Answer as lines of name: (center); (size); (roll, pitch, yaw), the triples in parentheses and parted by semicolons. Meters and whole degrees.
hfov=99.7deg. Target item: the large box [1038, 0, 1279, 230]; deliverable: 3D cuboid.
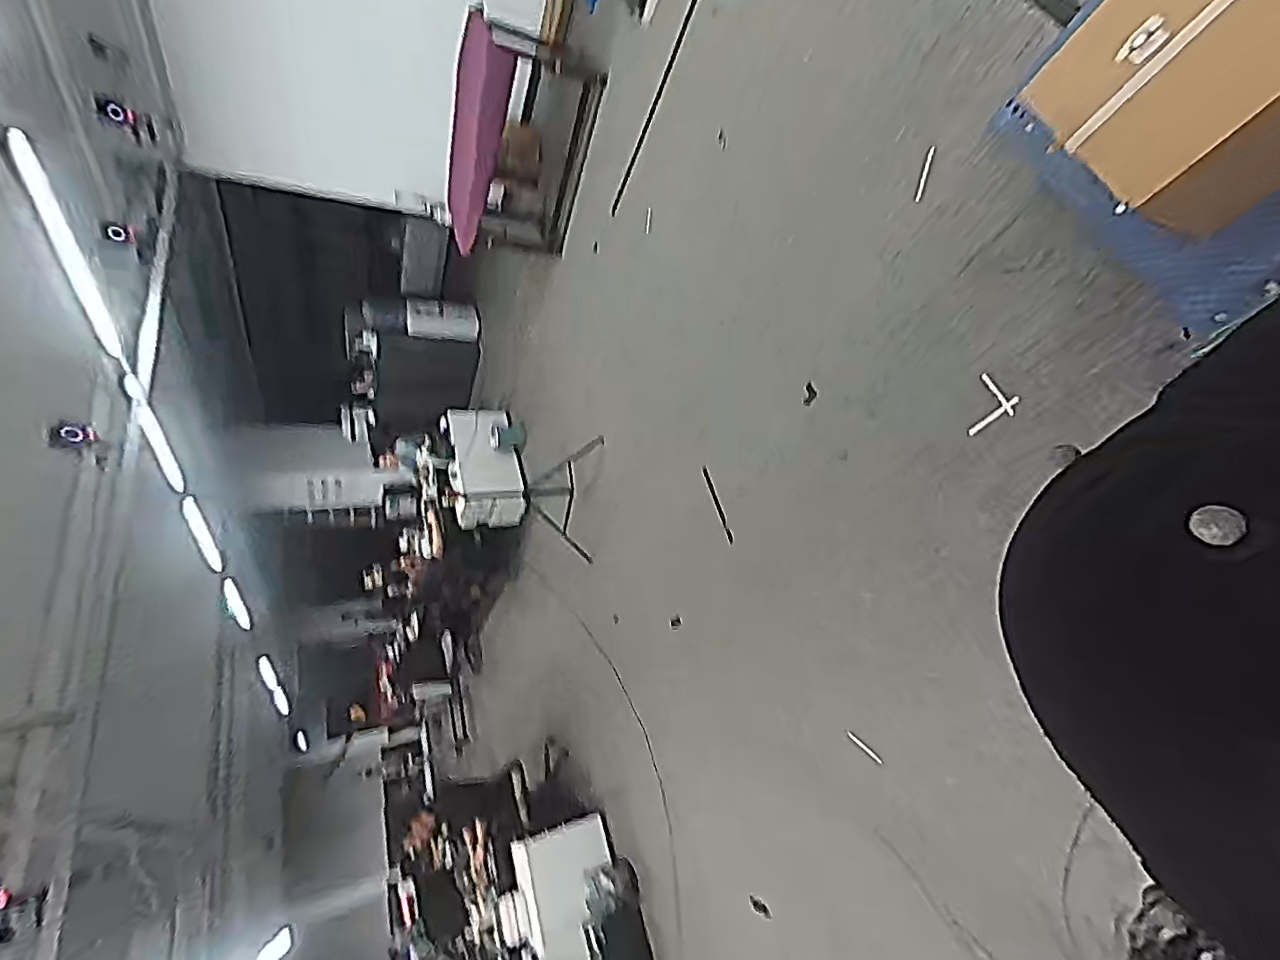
large box: (0.941, -0.658, 0.799); (0.408, 0.320, 0.320); (-51, 48, 52)
